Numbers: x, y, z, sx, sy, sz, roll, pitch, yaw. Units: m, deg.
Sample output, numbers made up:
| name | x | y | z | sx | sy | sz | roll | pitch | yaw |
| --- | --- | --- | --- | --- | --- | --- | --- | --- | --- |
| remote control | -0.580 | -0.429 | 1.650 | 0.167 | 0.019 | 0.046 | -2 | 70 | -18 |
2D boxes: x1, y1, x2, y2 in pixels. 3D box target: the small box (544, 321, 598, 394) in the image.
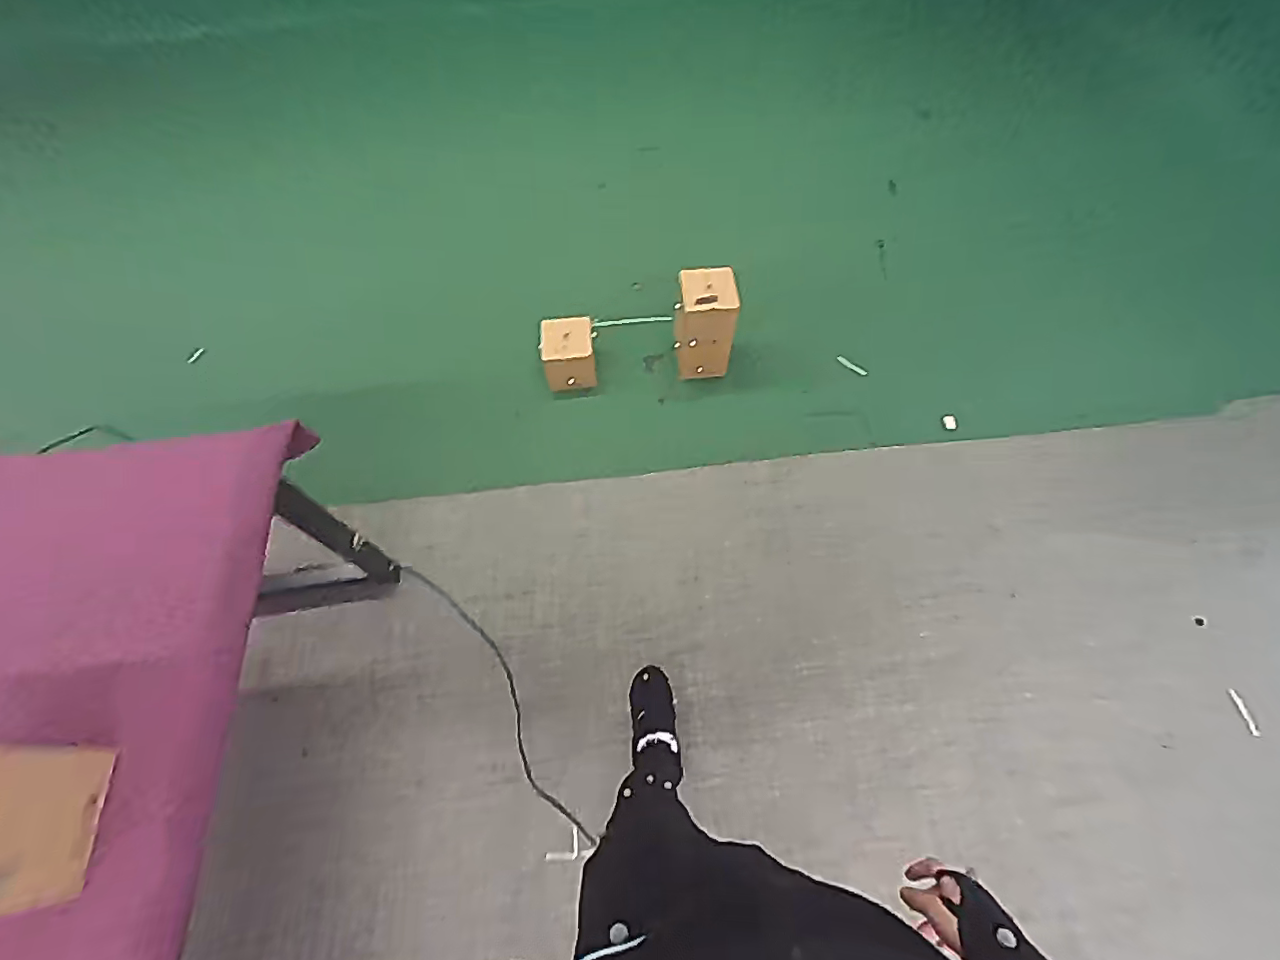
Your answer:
| name | x | y | z | sx | sy | sz | roll | pitch | yaw |
| --- | --- | --- | --- | --- | --- | --- | --- | --- | --- |
| small box | -0.239 | -0.422 | 1.872 | 0.168 | 0.176 | 0.179 | -6 | 62 | -1 |

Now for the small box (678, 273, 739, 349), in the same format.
| name | x | y | z | sx | sy | sz | roll | pitch | yaw |
| --- | --- | --- | --- | --- | --- | --- | --- | --- | --- |
| small box | 0.215 | -0.538 | 1.742 | 0.168 | 0.176 | 0.179 | -4 | 62 | -2 |

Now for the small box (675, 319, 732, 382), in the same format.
| name | x | y | z | sx | sy | sz | roll | pitch | yaw |
| --- | --- | --- | --- | --- | --- | --- | --- | --- | --- |
| small box | 0.216 | -0.464 | 1.888 | 0.168 | 0.176 | 0.179 | -4 | 63 | -2 |
